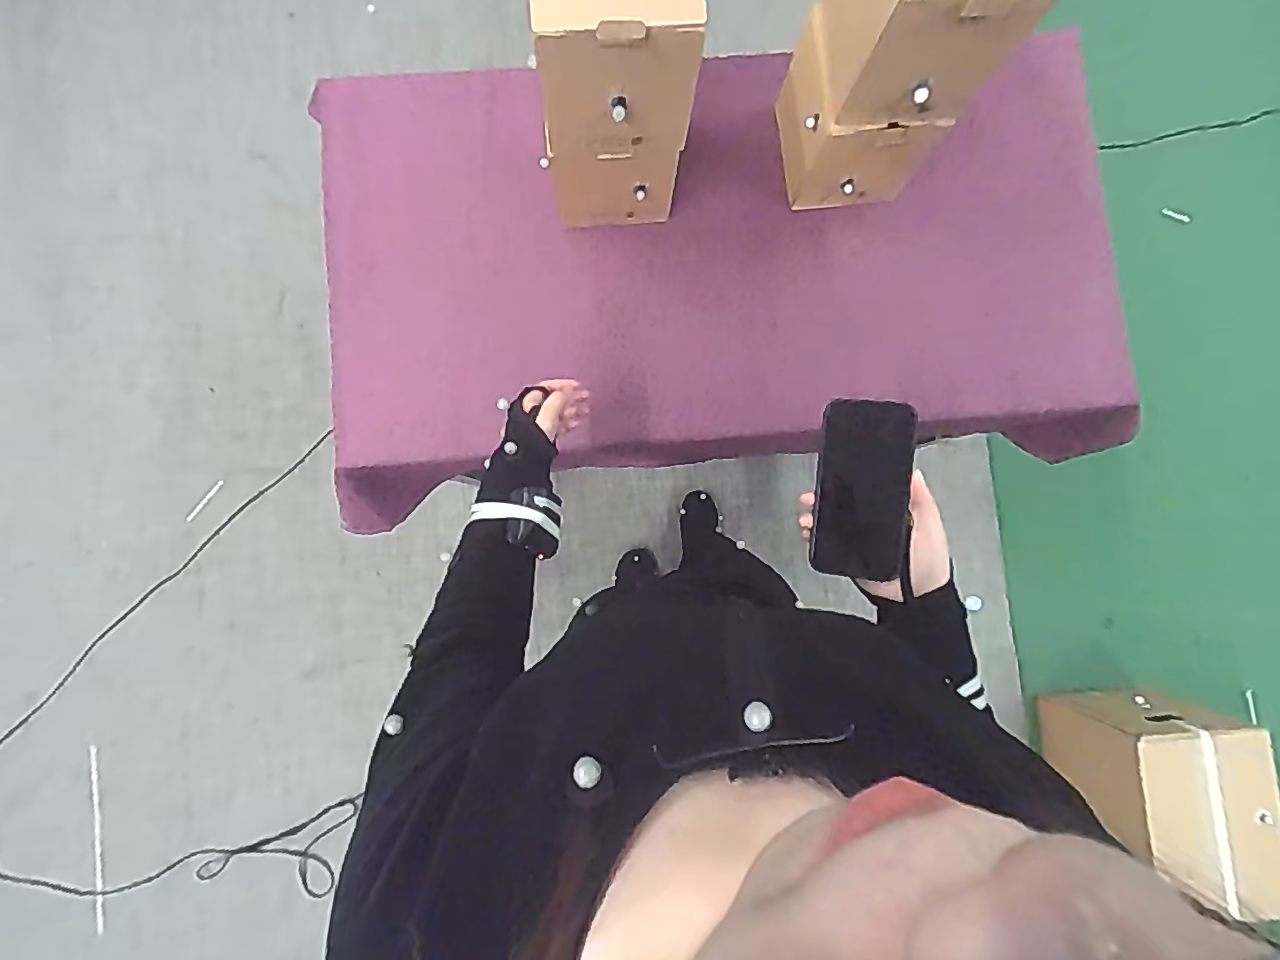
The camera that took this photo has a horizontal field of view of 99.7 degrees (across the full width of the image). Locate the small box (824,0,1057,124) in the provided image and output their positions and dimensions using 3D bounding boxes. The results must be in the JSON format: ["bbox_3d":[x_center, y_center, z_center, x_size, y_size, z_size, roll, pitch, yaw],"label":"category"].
[{"bbox_3d":[0.317,-0.538,0.600,0.168,0.176,0.179,-4,86,-1],"label":"small box"}]

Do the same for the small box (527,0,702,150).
[{"bbox_3d":[-0.029,-0.489,0.588,0.168,0.176,0.179,-4,86,-3],"label":"small box"}]

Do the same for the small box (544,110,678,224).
[{"bbox_3d":[-0.041,-0.477,0.752,0.168,0.176,0.179,-5,85,-3],"label":"small box"}]

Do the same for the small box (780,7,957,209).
[{"bbox_3d":[0.307,-0.517,0.763,0.168,0.176,0.179,-7,86,-2],"label":"small box"}]
